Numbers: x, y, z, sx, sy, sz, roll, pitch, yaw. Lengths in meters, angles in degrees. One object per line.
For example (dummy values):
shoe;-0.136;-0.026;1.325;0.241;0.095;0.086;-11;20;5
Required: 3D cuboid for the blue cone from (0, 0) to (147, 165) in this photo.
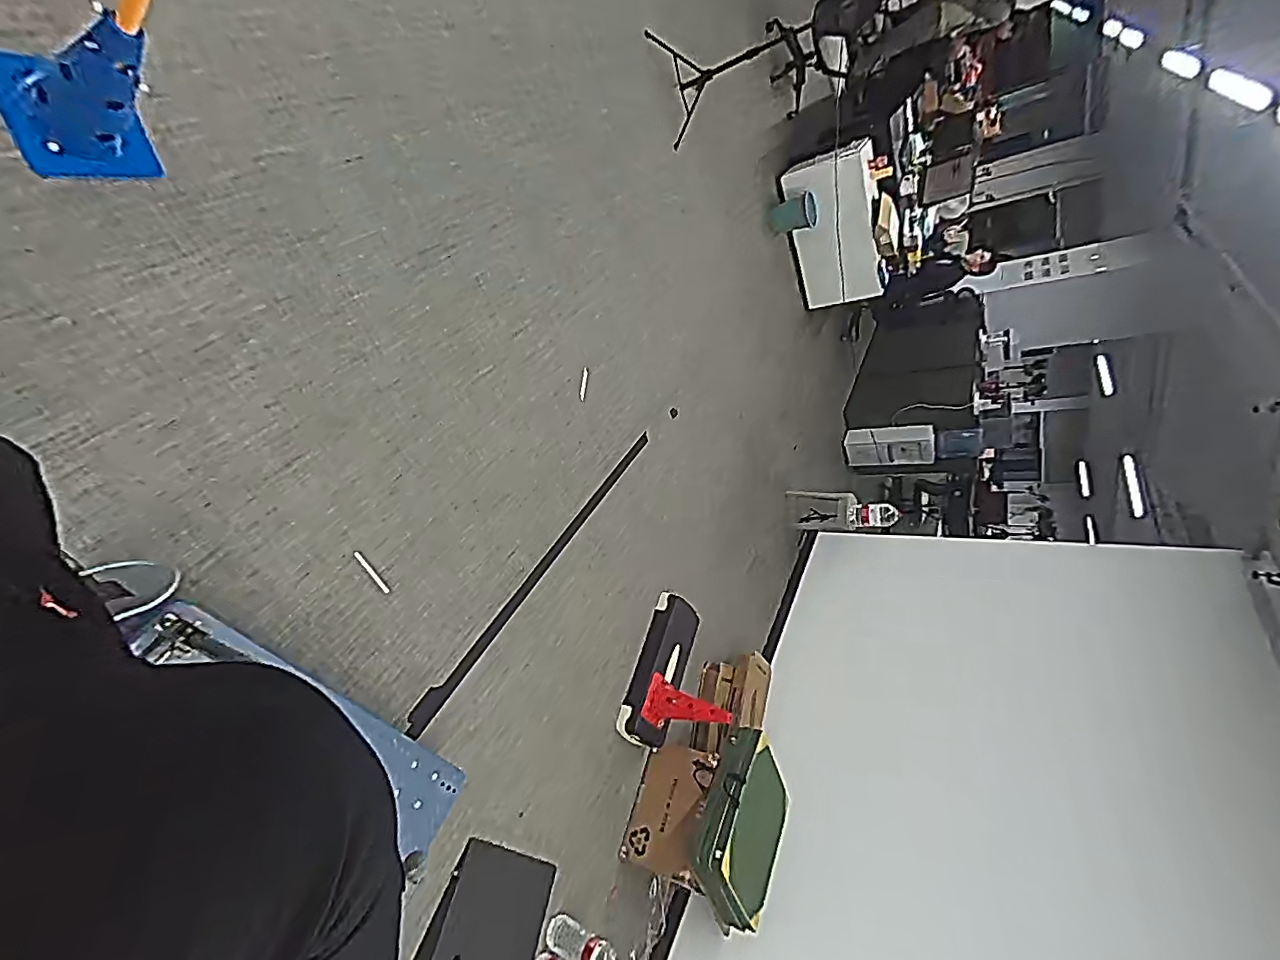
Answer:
blue cone;-0.909;-0.684;0.889;0.193;0.380;0.192;-35;117;-50
